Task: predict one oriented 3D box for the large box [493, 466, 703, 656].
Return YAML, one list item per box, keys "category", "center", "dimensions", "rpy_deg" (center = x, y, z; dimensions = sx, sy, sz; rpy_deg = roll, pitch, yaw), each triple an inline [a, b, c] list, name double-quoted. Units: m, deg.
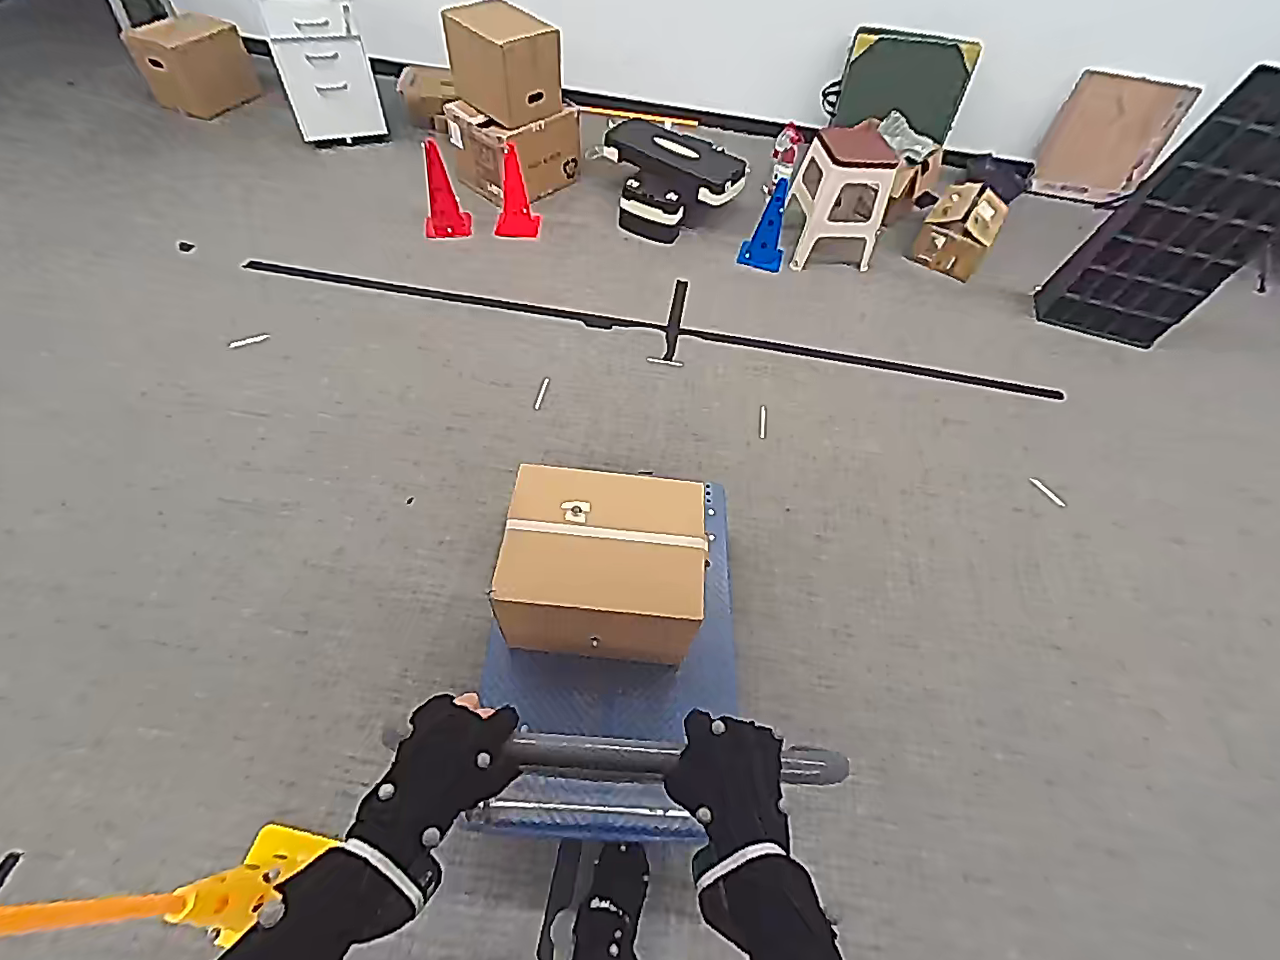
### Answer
- category: "large box"
  center: [-0.079, 0.194, 1.223]
  dimensions: [0.408, 0.320, 0.320]
  rpy_deg: [6, 56, -1]
